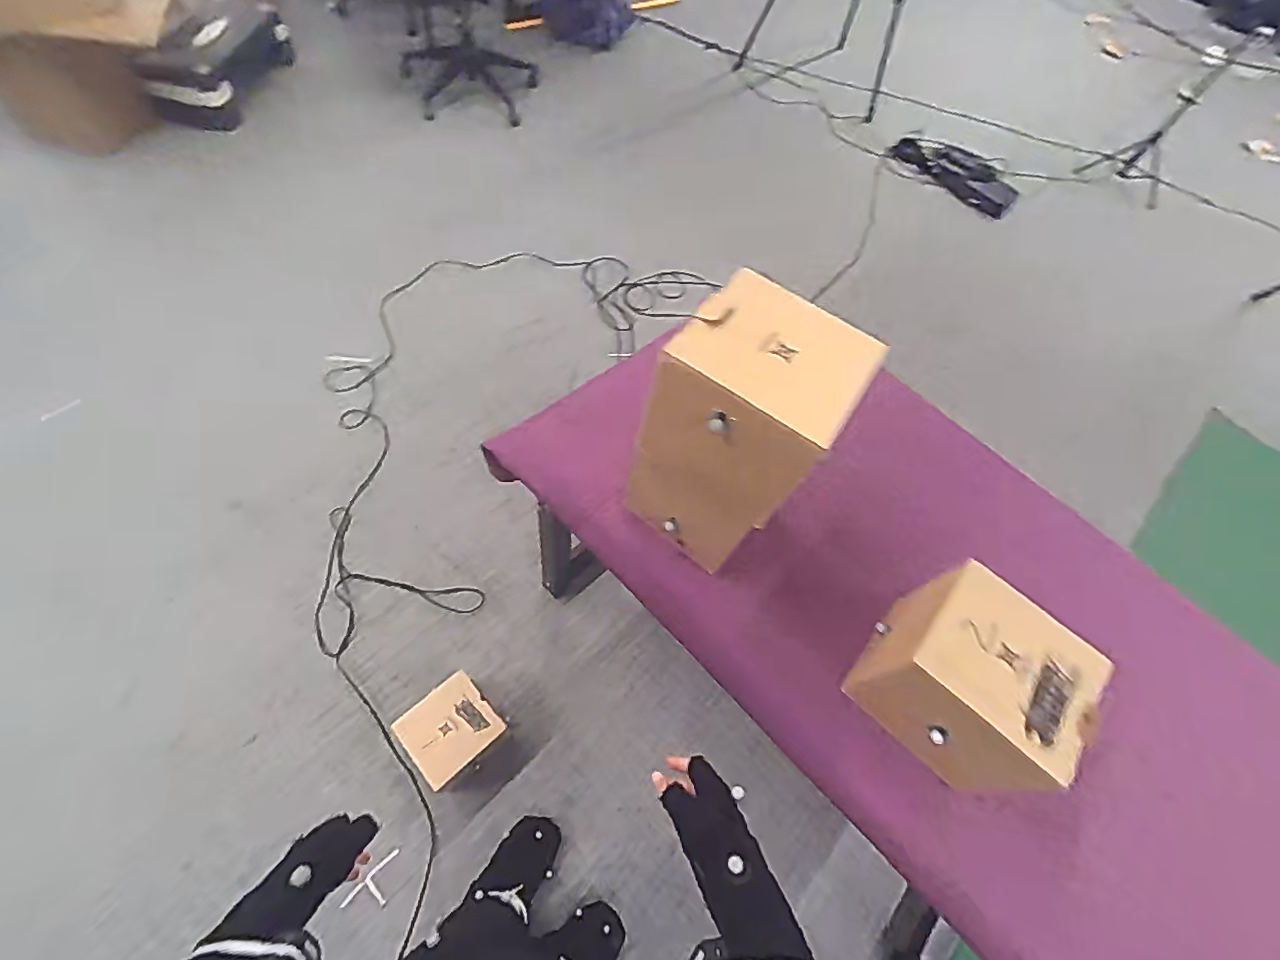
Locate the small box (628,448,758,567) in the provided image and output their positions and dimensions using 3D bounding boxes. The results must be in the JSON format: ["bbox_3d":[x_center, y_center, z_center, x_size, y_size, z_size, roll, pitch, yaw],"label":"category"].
[{"bbox_3d":[0.100,-0.013,0.745,0.168,0.176,0.179,39,61,12],"label":"small box"}]

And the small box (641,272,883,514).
[{"bbox_3d":[0.123,-0.085,0.600,0.179,0.176,0.168,34,60,10],"label":"small box"}]
